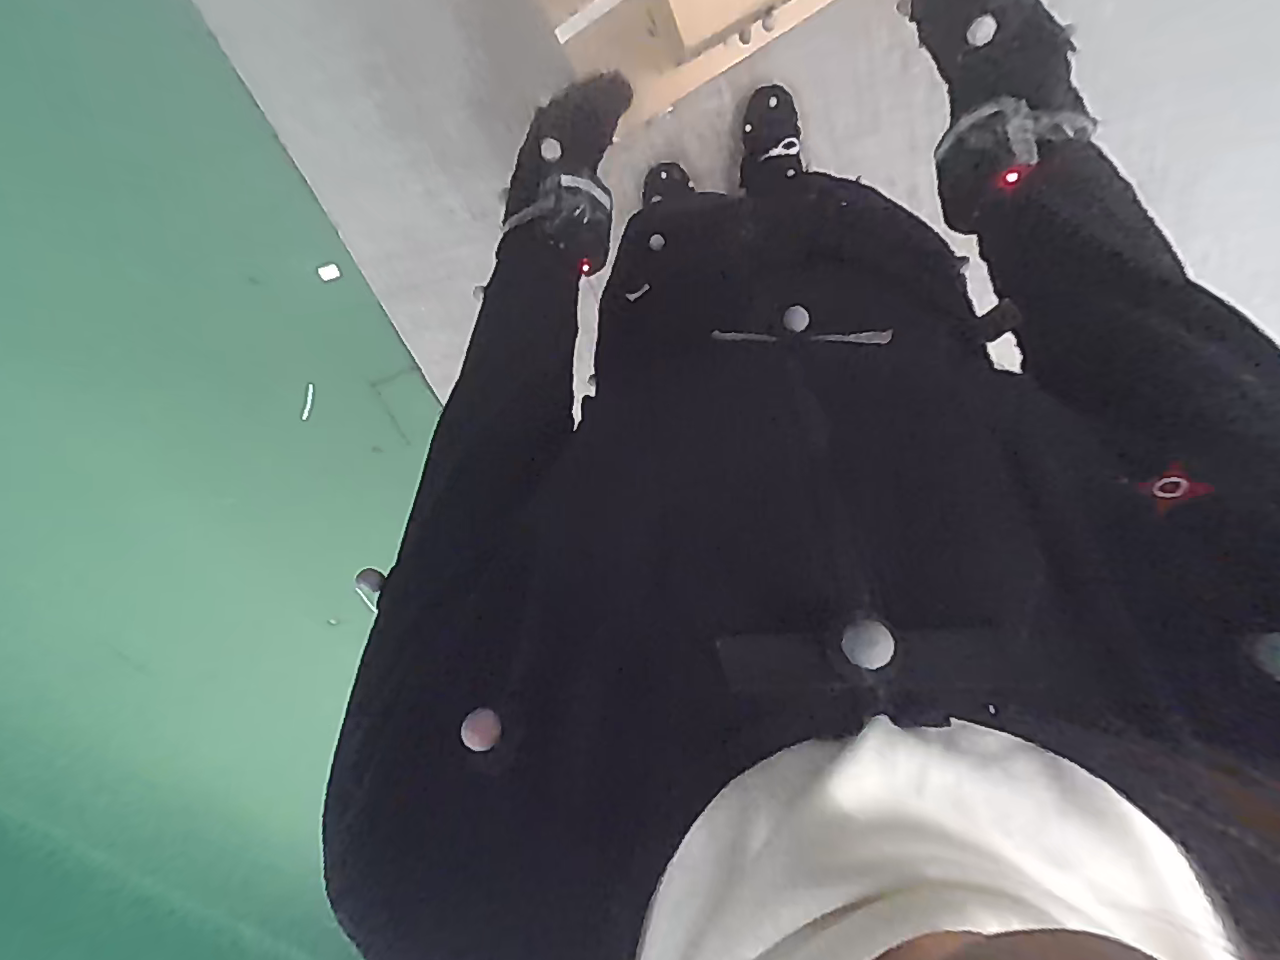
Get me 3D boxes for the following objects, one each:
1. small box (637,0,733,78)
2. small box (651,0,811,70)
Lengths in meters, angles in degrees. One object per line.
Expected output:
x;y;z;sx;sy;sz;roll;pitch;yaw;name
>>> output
0.084;-0.663;0.710;0.179;0.176;0.168;-23;120;14;small box
0.082;-0.474;0.442;0.179;0.176;0.168;-21;120;15;small box
